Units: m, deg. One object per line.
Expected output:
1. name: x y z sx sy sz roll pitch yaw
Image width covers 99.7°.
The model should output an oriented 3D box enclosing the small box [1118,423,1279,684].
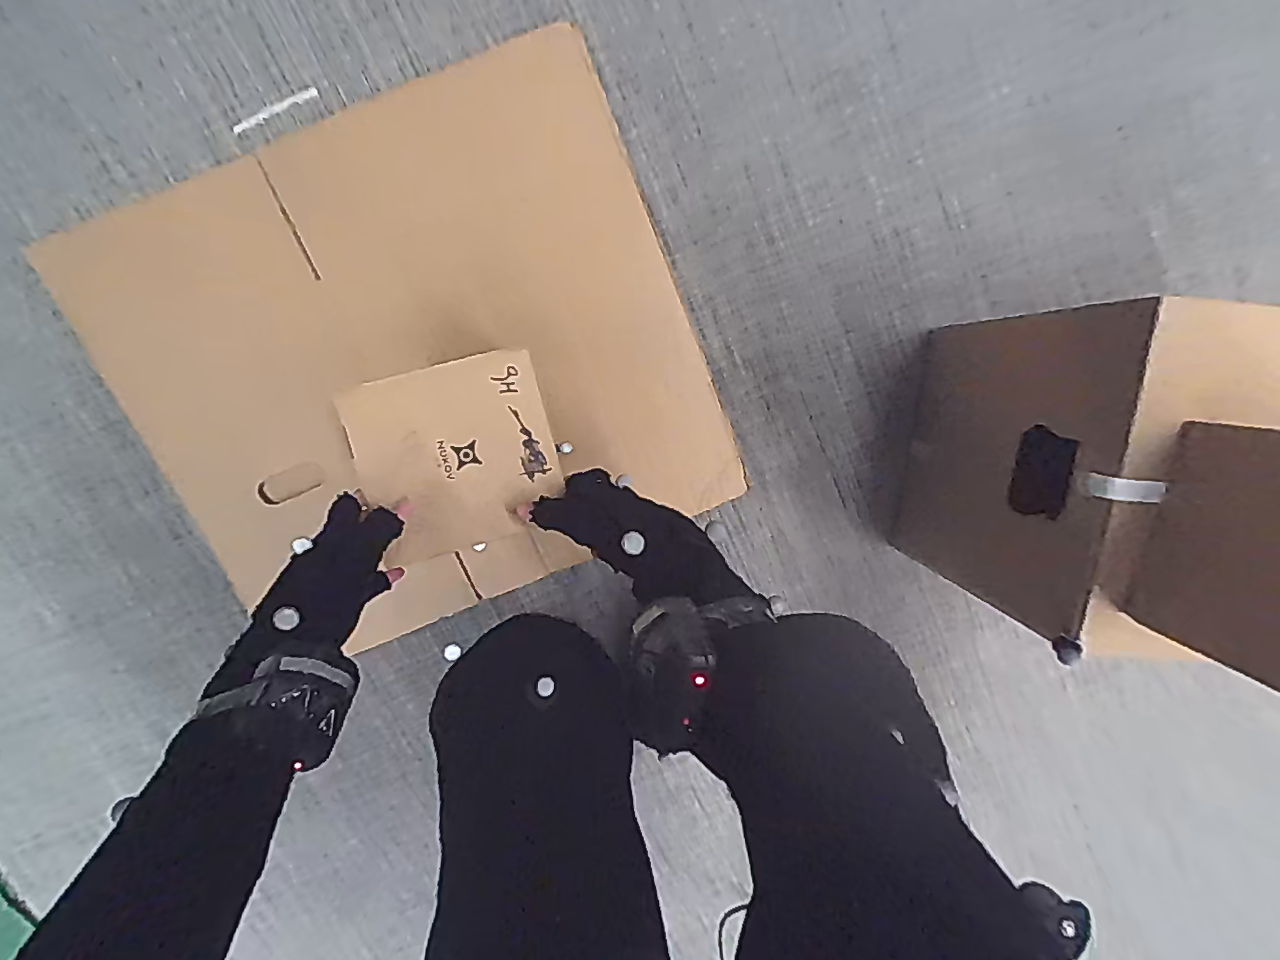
1. small box: 0.512 0.059 0.394 0.168 0.176 0.179 7 102 -4

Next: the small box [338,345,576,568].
1. small box: -0.172 -0.021 0.568 0.179 0.176 0.168 -19 92 -7
